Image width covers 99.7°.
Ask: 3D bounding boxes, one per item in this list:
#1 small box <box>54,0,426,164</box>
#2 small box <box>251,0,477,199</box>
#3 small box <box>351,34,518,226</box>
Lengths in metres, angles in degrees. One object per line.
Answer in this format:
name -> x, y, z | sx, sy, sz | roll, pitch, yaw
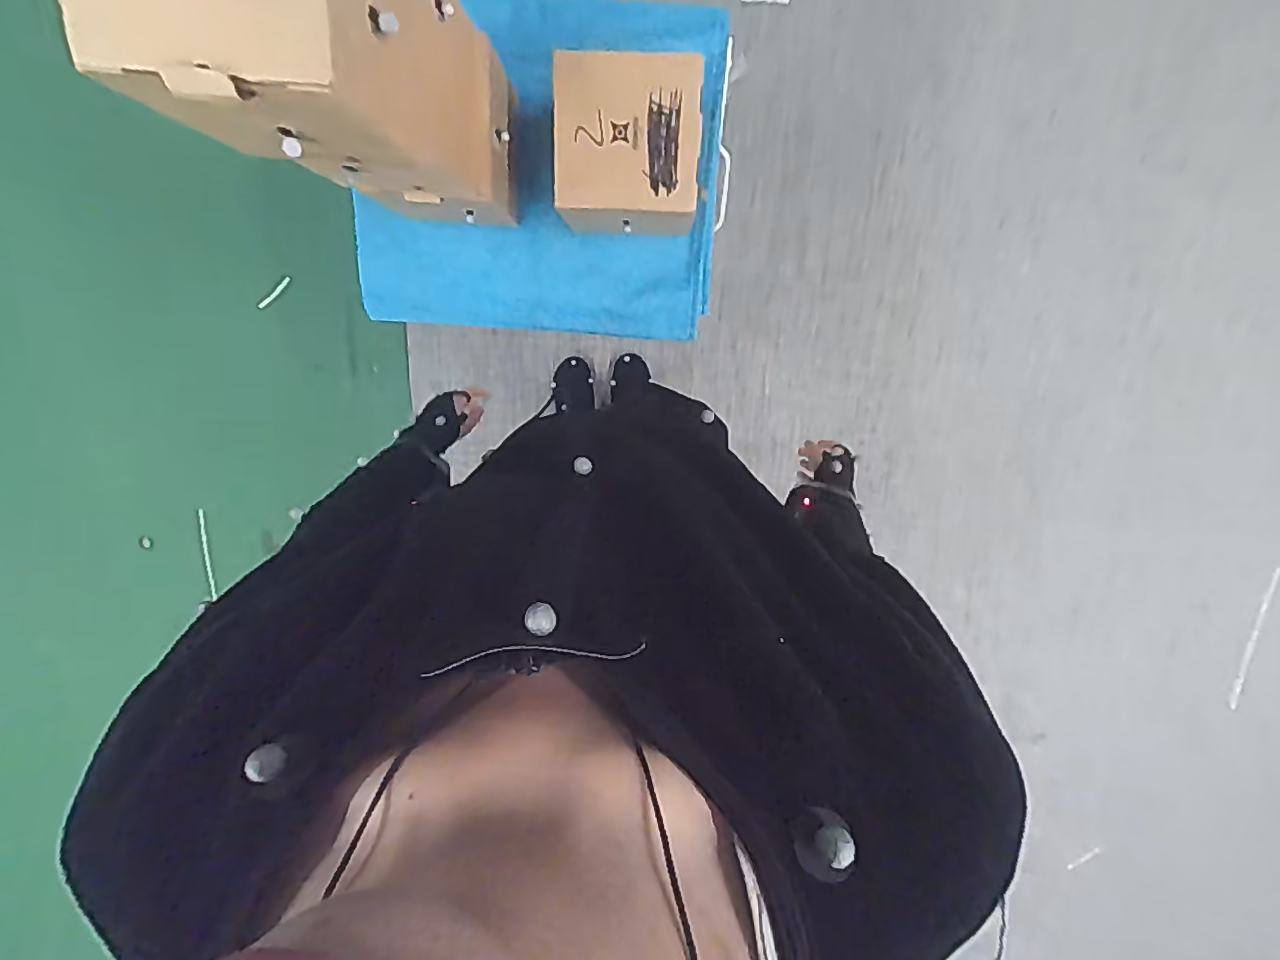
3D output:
small box -> -0.267, -0.354, 0.393 | 0.168, 0.176, 0.179 | 5, 104, -2
small box -> -0.271, -0.405, 0.550 | 0.168, 0.176, 0.179 | 6, 103, -2
small box -> -0.259, -0.444, 0.707 | 0.168, 0.176, 0.179 | 4, 104, -2
